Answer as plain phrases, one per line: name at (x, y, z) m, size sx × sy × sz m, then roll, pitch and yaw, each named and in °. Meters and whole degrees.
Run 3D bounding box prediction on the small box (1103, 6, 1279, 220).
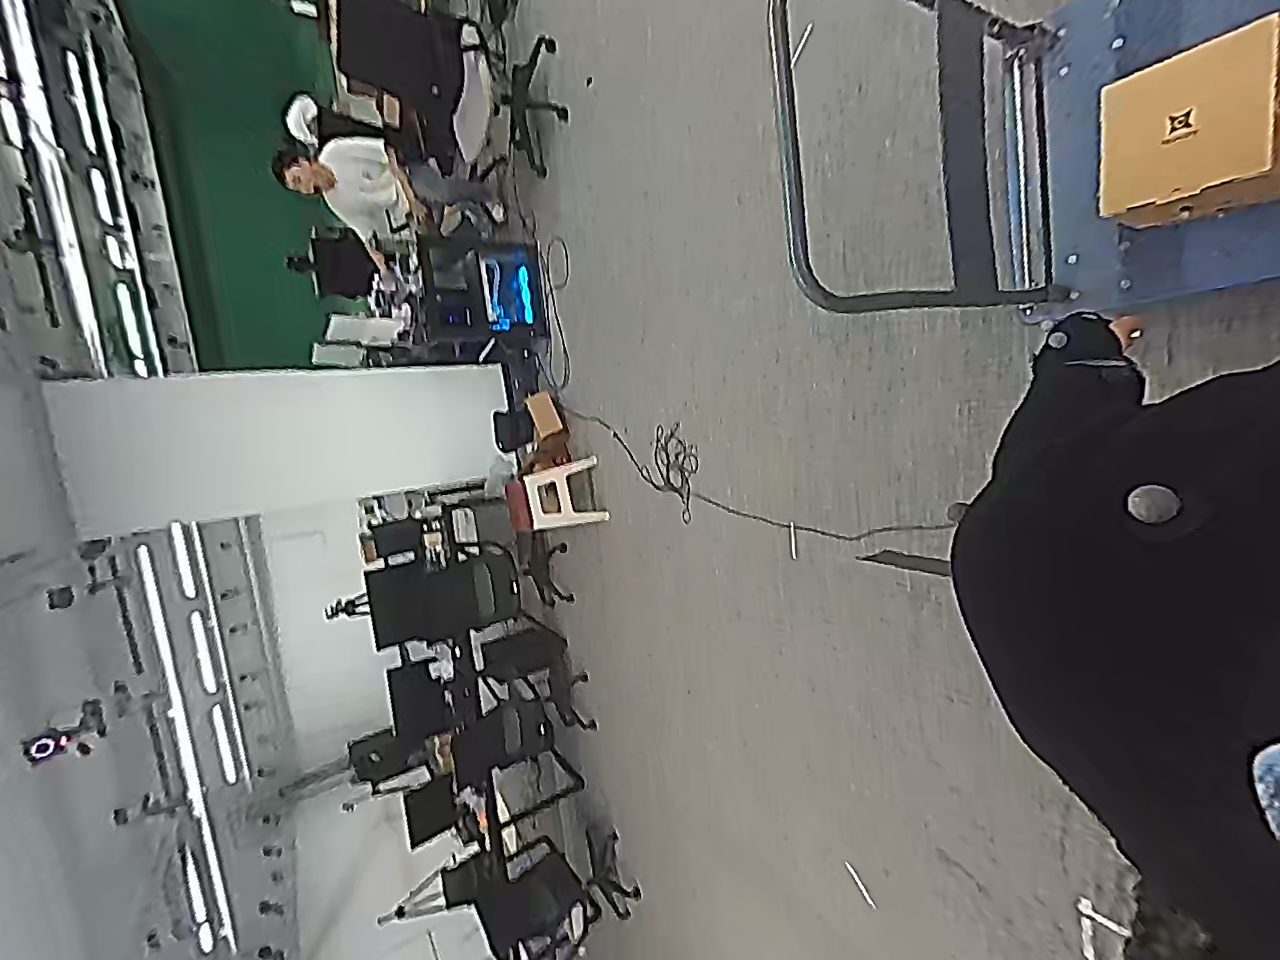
small box at (0.760, -0.473, 0.732) m, size 0.168 × 0.176 × 0.179 m, roll 5°, pitch 105°, yaw 56°
